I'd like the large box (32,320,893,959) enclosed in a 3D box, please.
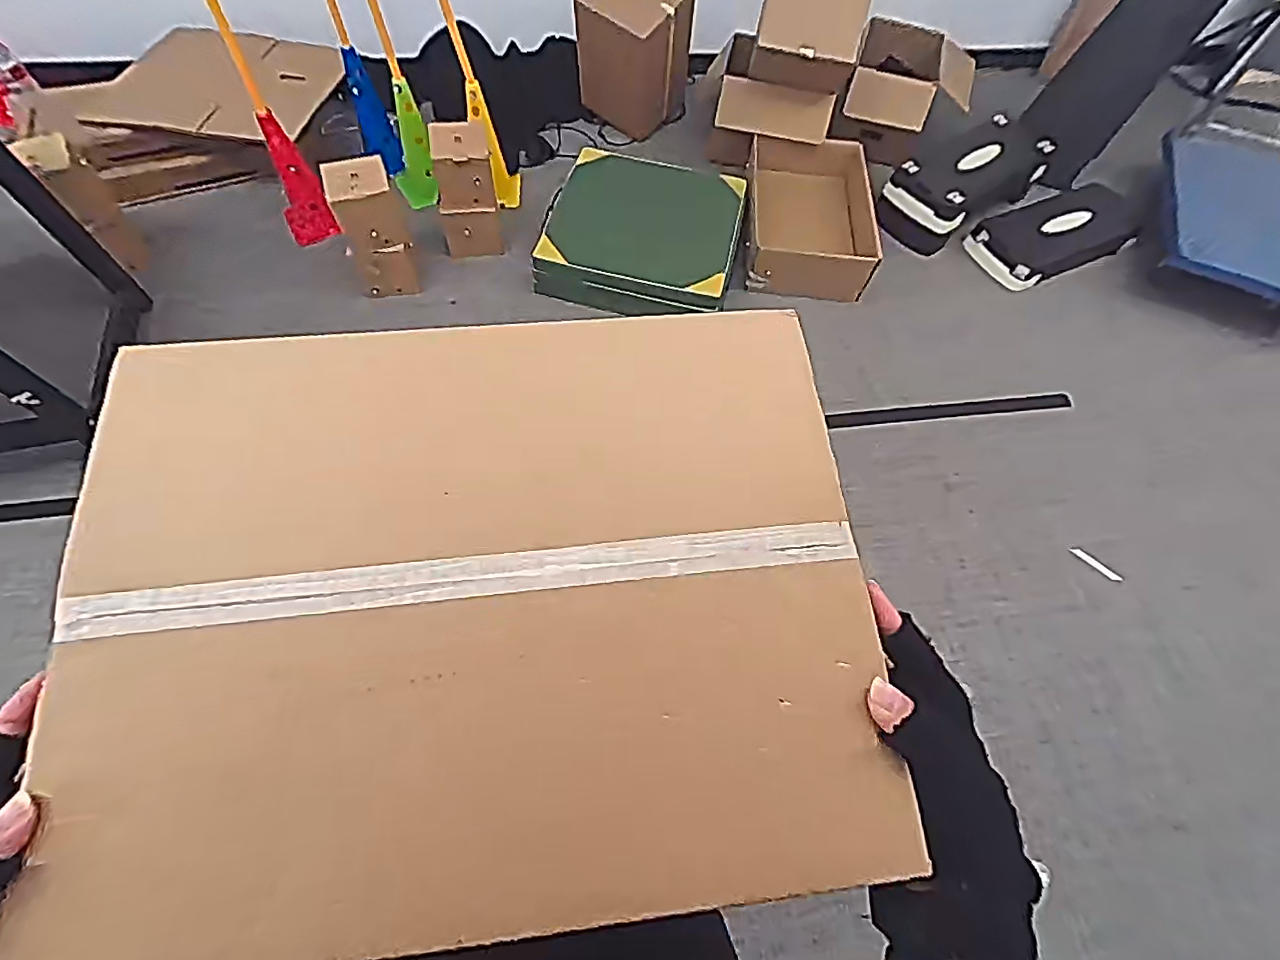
[{"bbox_3d":[-0.095,0.102,0.440,0.408,0.320,0.320,-5,72,-5],"label":"large box"}]
